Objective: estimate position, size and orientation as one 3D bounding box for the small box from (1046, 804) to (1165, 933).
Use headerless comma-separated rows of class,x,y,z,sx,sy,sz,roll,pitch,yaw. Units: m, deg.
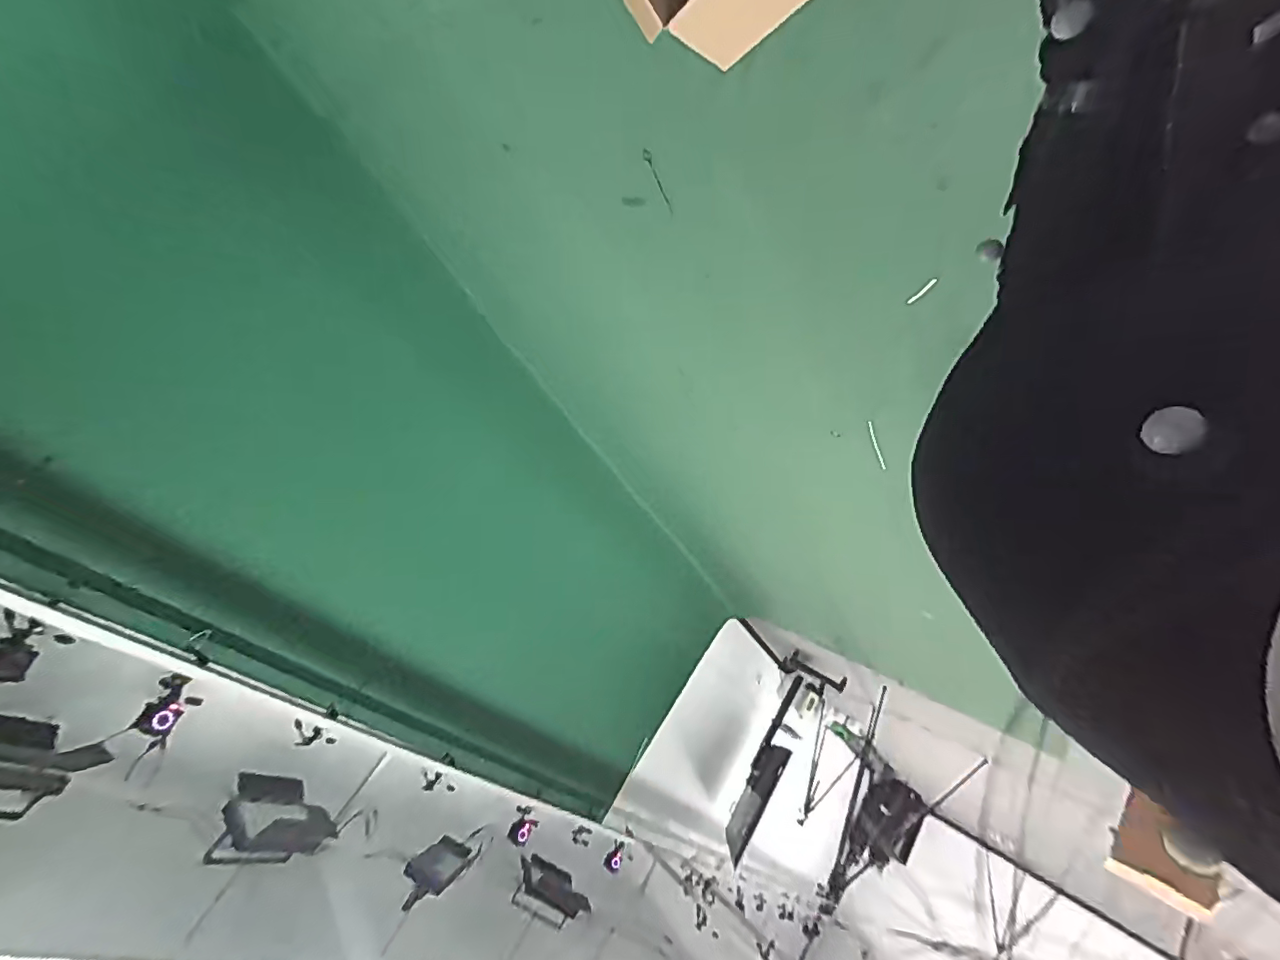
small box,1.069,0.888,1.246,0.168,0.176,0.179,21,152,43
